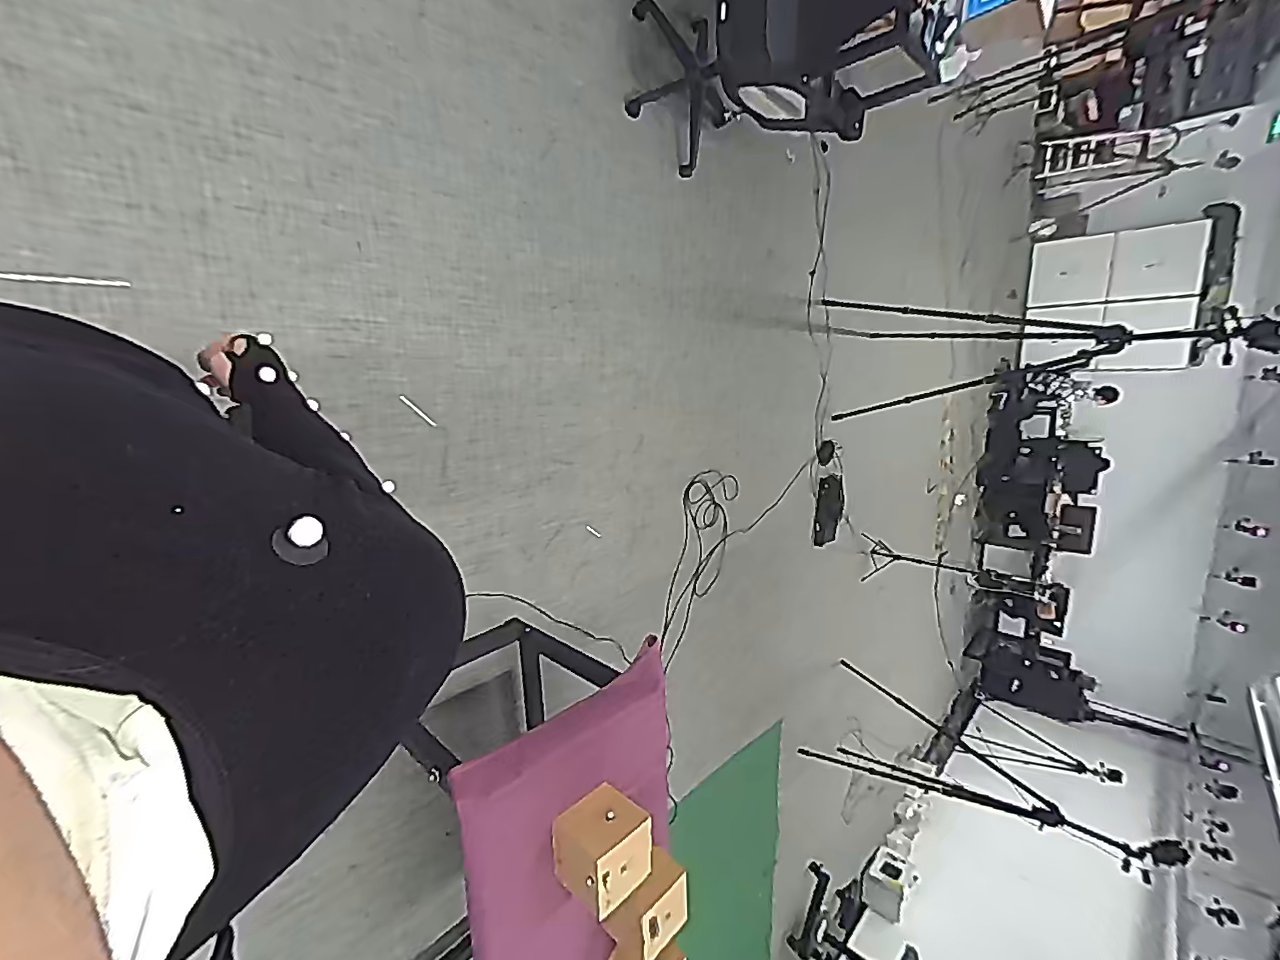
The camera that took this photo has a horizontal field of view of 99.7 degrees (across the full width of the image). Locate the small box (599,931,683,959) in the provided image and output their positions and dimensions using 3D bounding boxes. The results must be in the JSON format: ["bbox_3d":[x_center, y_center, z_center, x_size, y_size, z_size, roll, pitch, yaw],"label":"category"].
[{"bbox_3d":[0.004,1.386,1.527,0.179,0.176,0.168,-15,107,-44],"label":"small box"}]

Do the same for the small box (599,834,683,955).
[{"bbox_3d":[-0.002,1.107,1.469,0.179,0.176,0.168,-15,108,-45],"label":"small box"}]

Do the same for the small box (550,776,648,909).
[{"bbox_3d":[-0.099,0.870,1.321,0.179,0.176,0.168,-13,107,-45],"label":"small box"}]
